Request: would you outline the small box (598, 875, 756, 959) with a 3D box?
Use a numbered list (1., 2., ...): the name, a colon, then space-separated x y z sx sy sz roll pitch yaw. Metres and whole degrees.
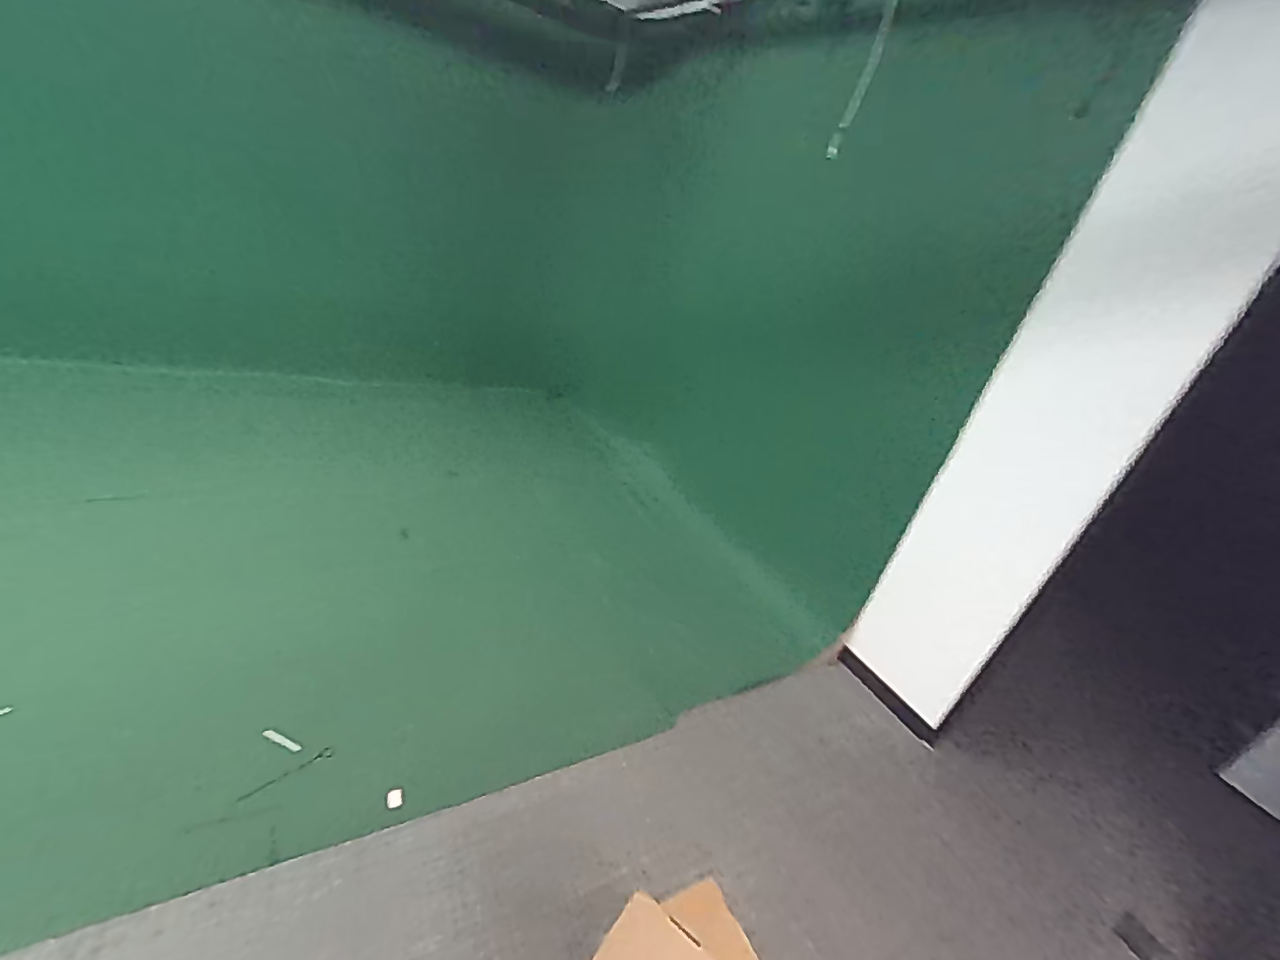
1. small box: 0.045 0.673 0.701 0.179 0.176 0.168 -4 34 -31
